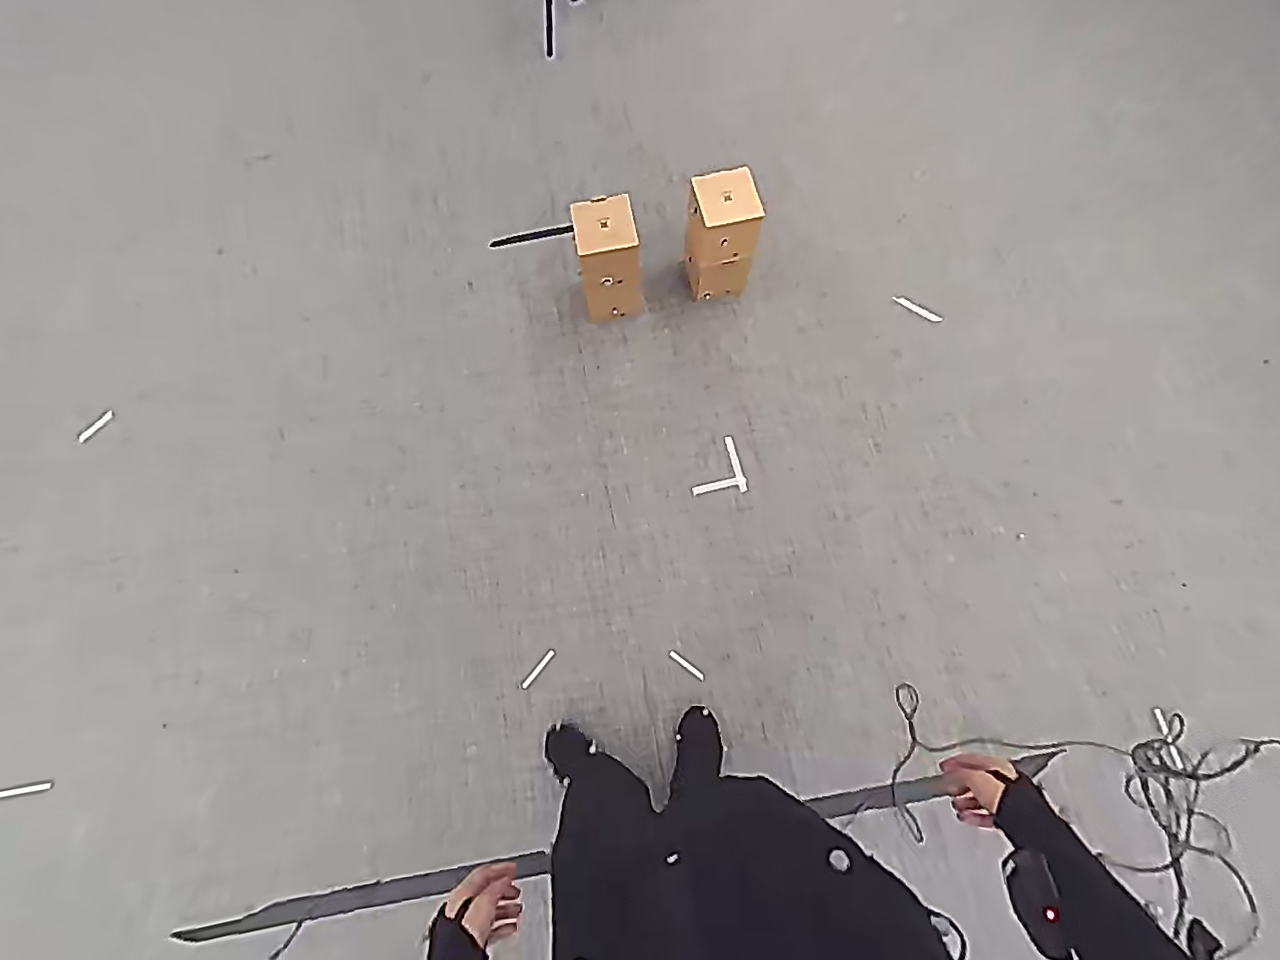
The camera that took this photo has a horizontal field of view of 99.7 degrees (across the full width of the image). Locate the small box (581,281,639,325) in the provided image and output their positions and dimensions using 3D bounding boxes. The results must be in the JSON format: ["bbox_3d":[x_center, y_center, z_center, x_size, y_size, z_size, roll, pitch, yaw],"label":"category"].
[{"bbox_3d":[-0.098,-0.610,1.675,0.168,0.176,0.179,-11,74,-2],"label":"small box"}]

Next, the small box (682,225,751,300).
[{"bbox_3d":[0.233,-0.686,1.691,0.168,0.176,0.179,-14,73,-3],"label":"small box"}]

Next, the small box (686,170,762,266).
[{"bbox_3d":[0.233,-0.734,1.536,0.168,0.176,0.179,-13,72,-3],"label":"small box"}]

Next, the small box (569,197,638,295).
[{"bbox_3d":[-0.099,-0.653,1.516,0.168,0.176,0.179,-11,73,-1],"label":"small box"}]
